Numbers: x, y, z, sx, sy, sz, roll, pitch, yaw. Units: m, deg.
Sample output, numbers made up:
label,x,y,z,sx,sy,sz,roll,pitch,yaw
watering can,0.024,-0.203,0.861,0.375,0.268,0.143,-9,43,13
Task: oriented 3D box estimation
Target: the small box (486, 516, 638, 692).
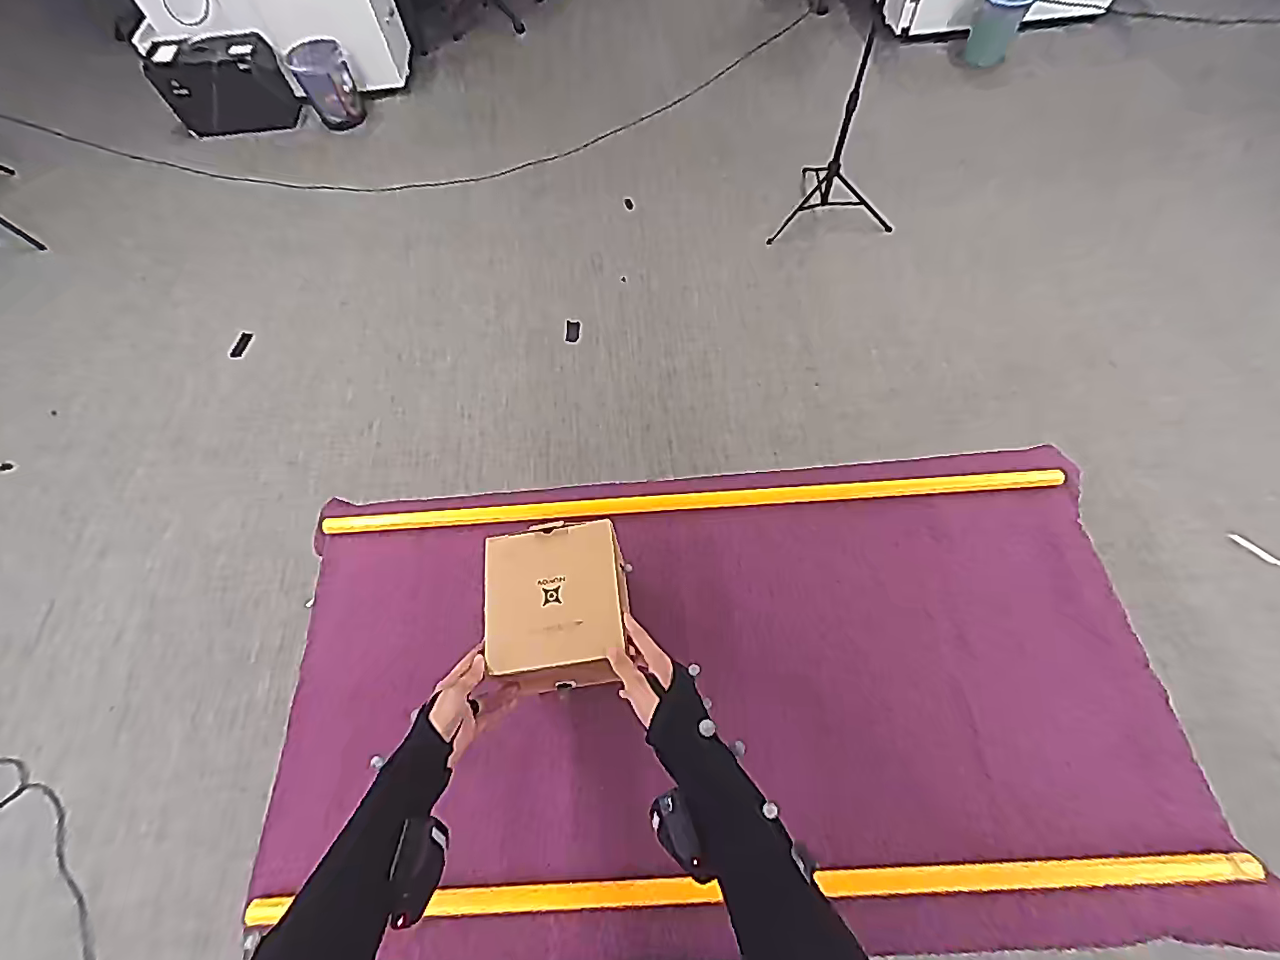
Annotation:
label,x,y,z,sx,sy,sz,roll,pitch,yaw
small box,-0.099,0.171,0.725,0.168,0.176,0.179,-9,61,1
